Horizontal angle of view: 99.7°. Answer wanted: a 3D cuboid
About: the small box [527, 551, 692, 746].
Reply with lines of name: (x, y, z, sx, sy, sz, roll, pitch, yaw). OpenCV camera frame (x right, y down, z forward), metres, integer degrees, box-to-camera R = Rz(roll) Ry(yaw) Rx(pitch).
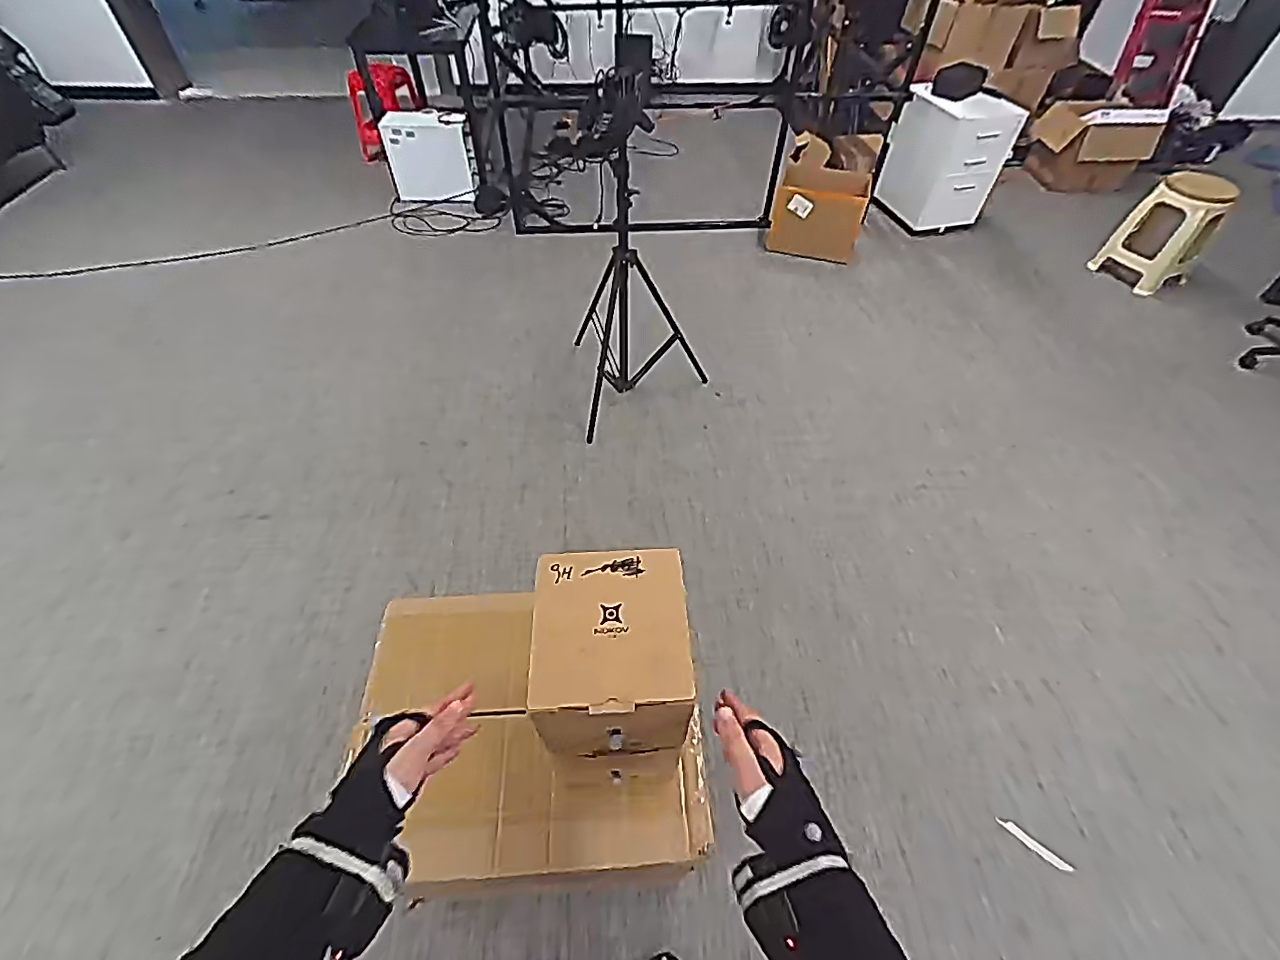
small box: (-0.032, 0.204, 0.637, 0.168, 0.176, 0.179, -3, 52, -2)

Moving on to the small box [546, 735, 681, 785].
small box: (-0.037, 0.310, 0.761, 0.168, 0.176, 0.179, -4, 51, -3)
